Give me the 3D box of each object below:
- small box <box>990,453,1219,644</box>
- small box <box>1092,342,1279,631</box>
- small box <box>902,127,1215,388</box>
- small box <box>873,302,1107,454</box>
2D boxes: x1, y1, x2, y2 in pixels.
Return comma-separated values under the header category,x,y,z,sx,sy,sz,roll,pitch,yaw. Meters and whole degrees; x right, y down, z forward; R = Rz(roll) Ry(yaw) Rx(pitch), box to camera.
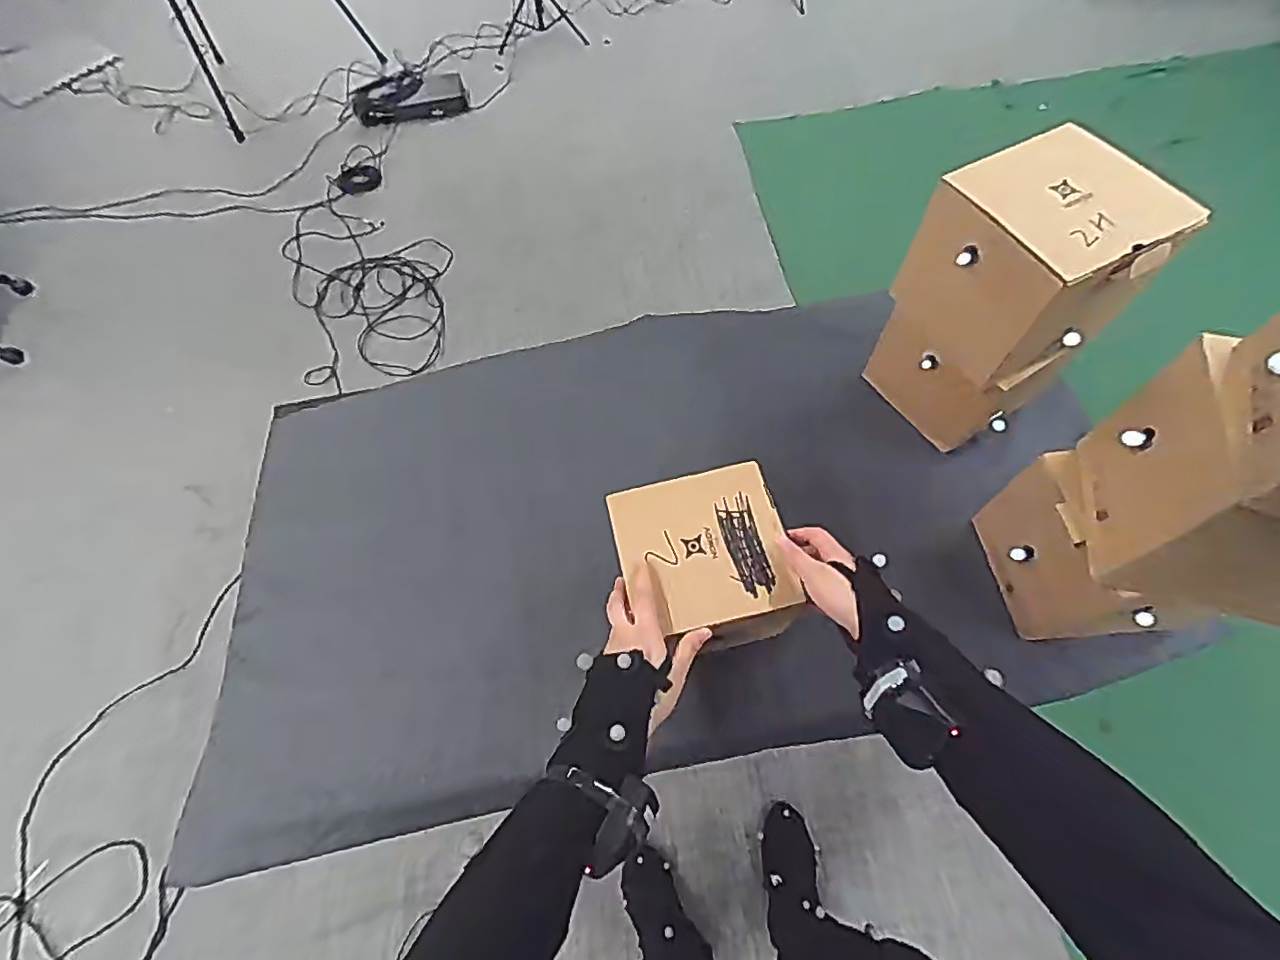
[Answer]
category,x,y,z,sx,sy,sz,roll,pitch,yaw
small box,0.532,0.080,0.608,0.179,0.176,0.168,-5,60,2
small box,0.526,0.013,0.458,0.179,0.176,0.168,14,62,11
small box,0.427,-0.235,0.594,0.168,0.176,0.179,-25,65,-5
small box,0.456,-0.167,0.742,0.168,0.176,0.179,-31,67,-8
